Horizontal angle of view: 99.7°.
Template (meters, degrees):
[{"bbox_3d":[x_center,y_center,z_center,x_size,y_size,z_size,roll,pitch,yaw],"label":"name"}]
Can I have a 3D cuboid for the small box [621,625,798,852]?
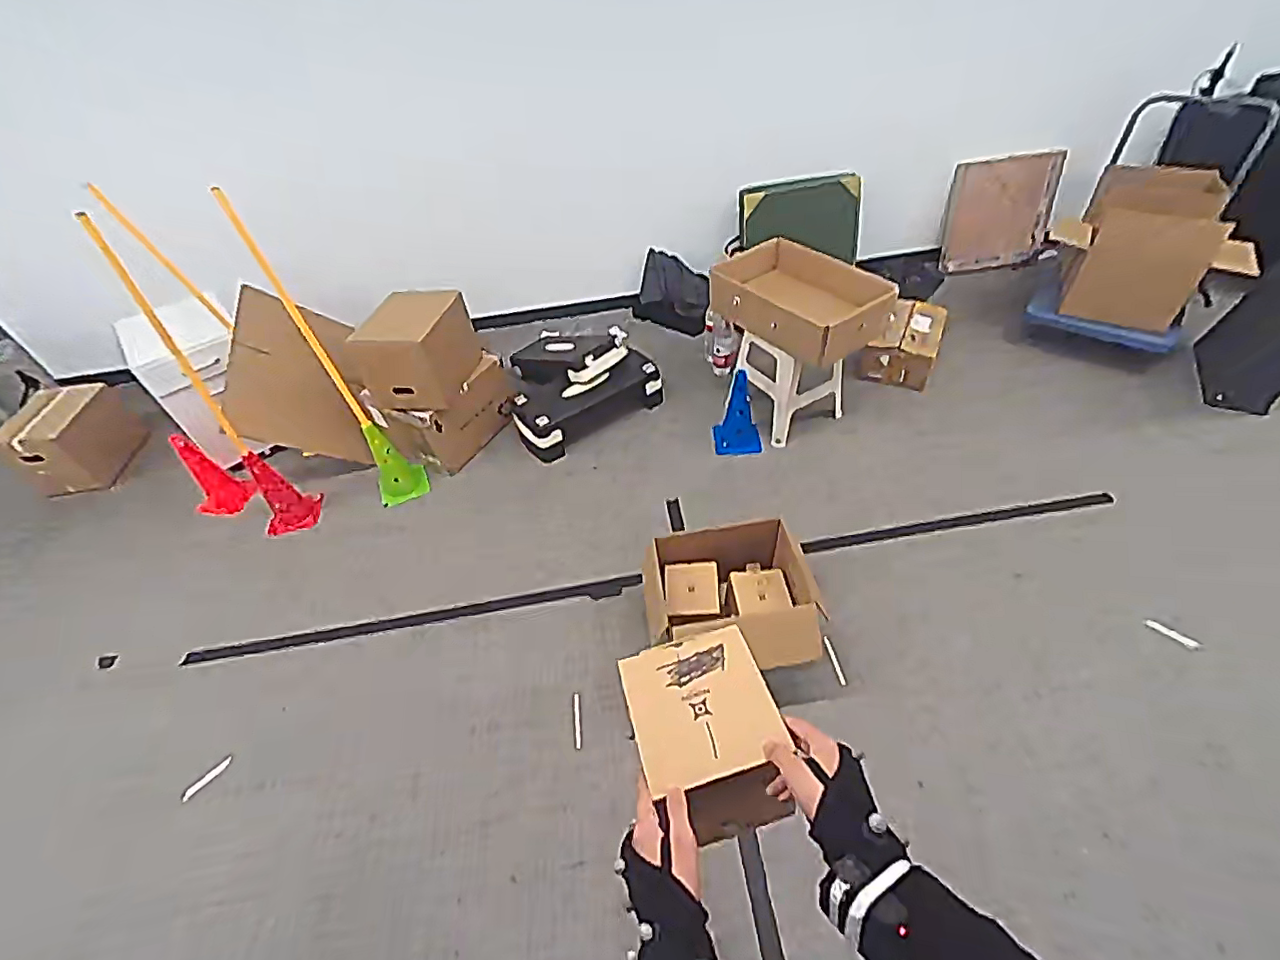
[{"bbox_3d":[0.083,0.319,0.677,0.168,0.176,0.179,-16,37,-5],"label":"small box"}]
